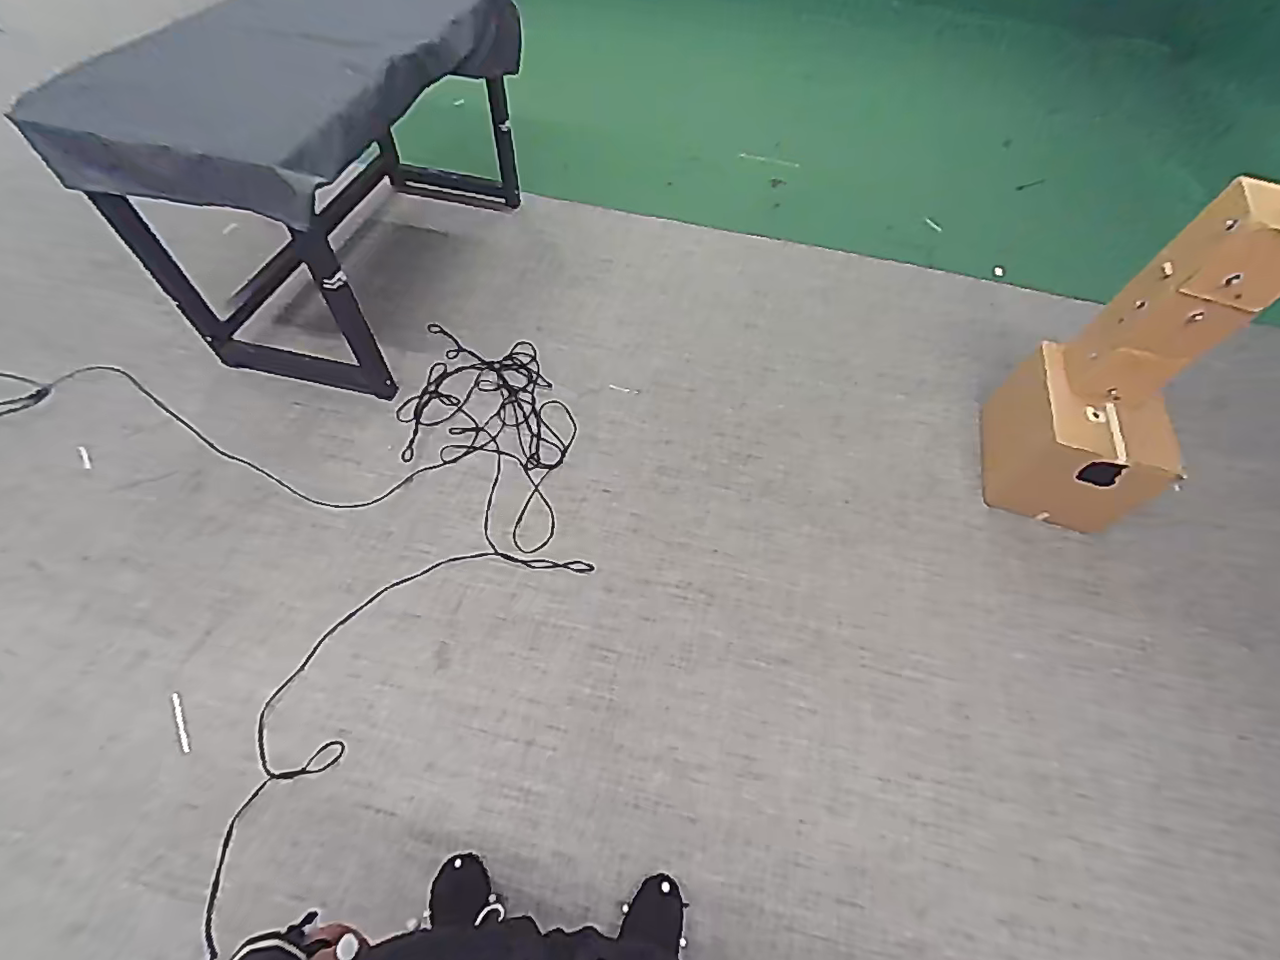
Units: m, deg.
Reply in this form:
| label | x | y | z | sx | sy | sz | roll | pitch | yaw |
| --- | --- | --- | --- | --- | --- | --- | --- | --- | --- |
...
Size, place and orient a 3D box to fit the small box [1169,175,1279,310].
| label | x | y | z | sx | sy | sz | roll | pitch | yaw |
| --- | --- | --- | --- | --- | --- | --- | --- | --- | --- |
| small box | 1.276 | -0.496 | 1.139 | 0.168 | 0.176 | 0.179 | 20 | 61 | 8 |

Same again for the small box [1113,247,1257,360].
| label | x | y | z | sx | sy | sz | roll | pitch | yaw |
| --- | --- | --- | --- | --- | --- | --- | --- | --- | --- |
| small box | 1.266 | -0.410 | 1.277 | 0.179 | 0.176 | 0.168 | 19 | 61 | 7 |

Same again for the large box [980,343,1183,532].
| label | x | y | z | sx | sy | sz | roll | pitch | yaw |
| --- | --- | --- | --- | --- | --- | --- | --- | --- | --- |
| large box | 1.239 | -0.121 | 1.574 | 0.320 | 0.320 | 0.408 | 15 | 59 | 7 |
